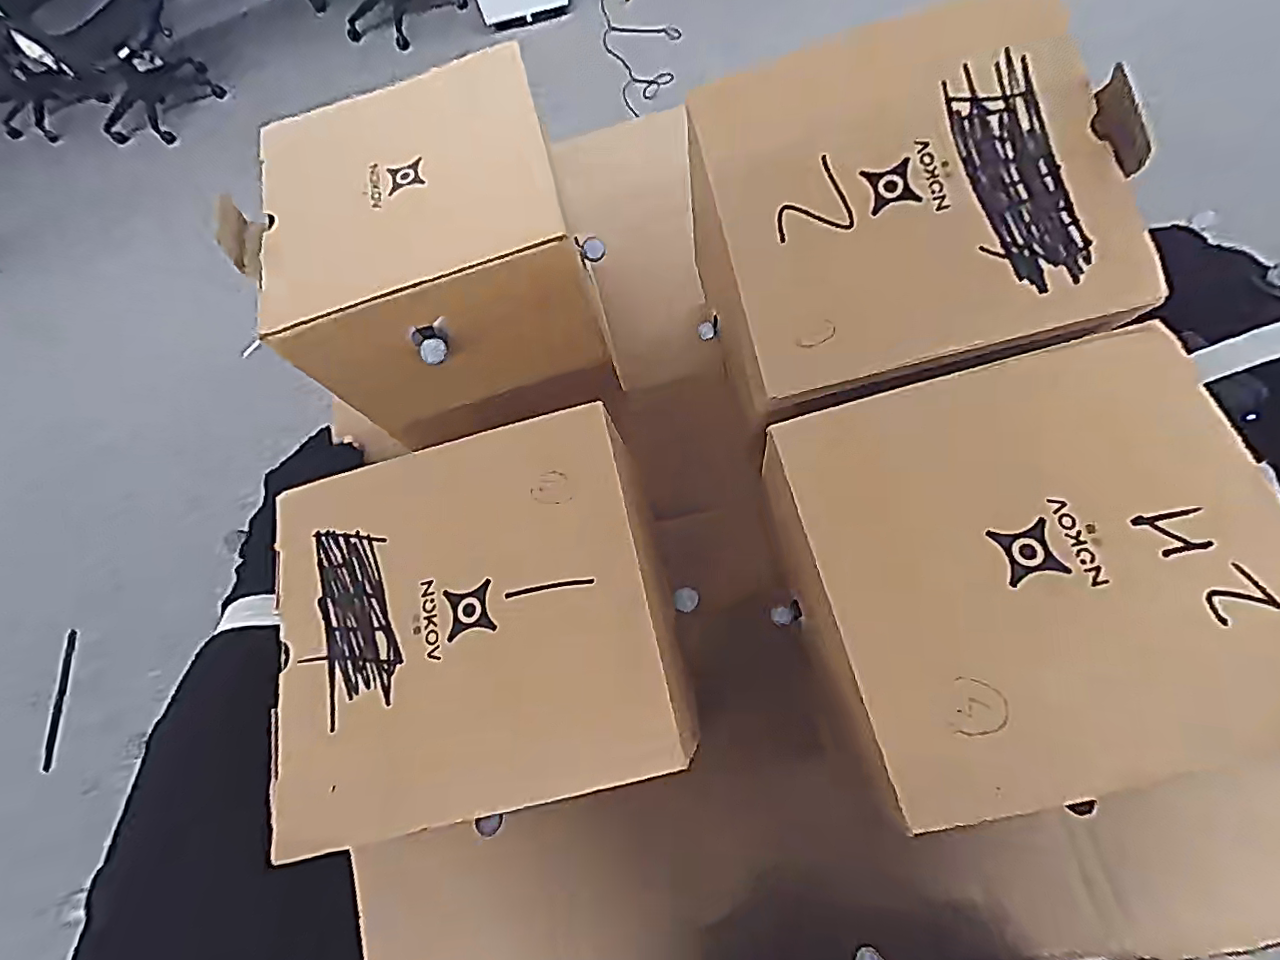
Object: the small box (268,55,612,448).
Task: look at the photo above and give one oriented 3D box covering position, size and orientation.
[{"bbox_3d":[-0.127,-0.145,0.394,0.179,0.176,0.168,-17,68,5],"label":"small box"}]
